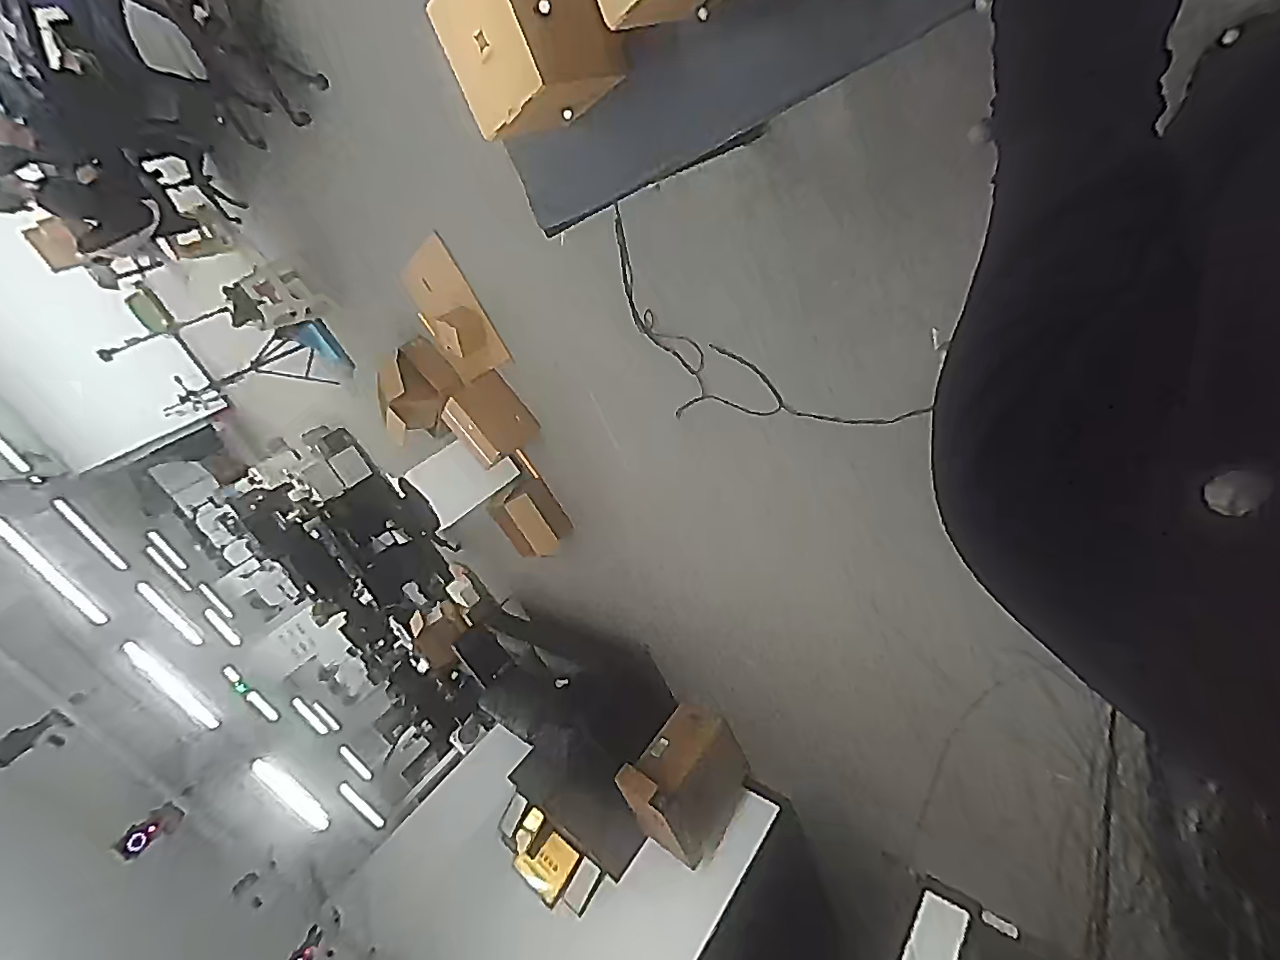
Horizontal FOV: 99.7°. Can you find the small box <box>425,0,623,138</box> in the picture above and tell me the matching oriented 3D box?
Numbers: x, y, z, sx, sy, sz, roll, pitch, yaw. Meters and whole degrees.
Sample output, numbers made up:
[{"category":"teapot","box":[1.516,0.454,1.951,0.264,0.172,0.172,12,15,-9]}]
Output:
[{"category":"small box","box":[-0.156,-0.619,0.756,0.168,0.176,0.179,1,124,48]}]

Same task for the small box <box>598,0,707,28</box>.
[{"category":"small box","box":[0.039,-0.608,0.544,0.168,0.176,0.179,3,125,47]}]
